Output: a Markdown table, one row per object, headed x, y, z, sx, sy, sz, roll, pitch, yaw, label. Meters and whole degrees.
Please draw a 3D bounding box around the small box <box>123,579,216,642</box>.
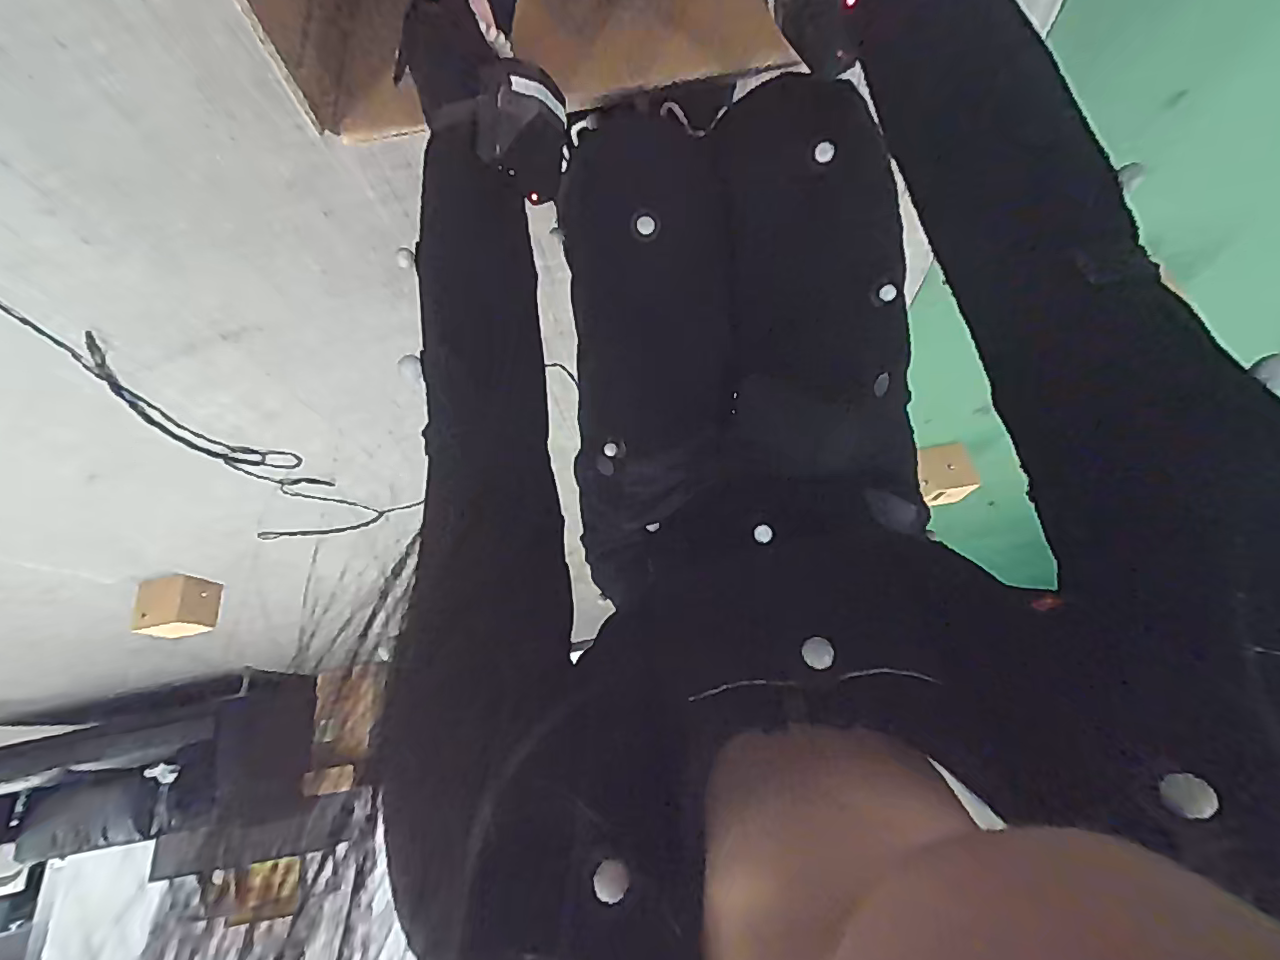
| x | y | z | sx | sy | sz | roll | pitch | yaw | label |
| --- | --- | --- | --- | --- | --- | --- | --- | --- | --- |
| -1.641 | 0.461 | 1.899 | 0.179 | 0.176 | 0.168 | -12 | 156 | 3 | small box |
